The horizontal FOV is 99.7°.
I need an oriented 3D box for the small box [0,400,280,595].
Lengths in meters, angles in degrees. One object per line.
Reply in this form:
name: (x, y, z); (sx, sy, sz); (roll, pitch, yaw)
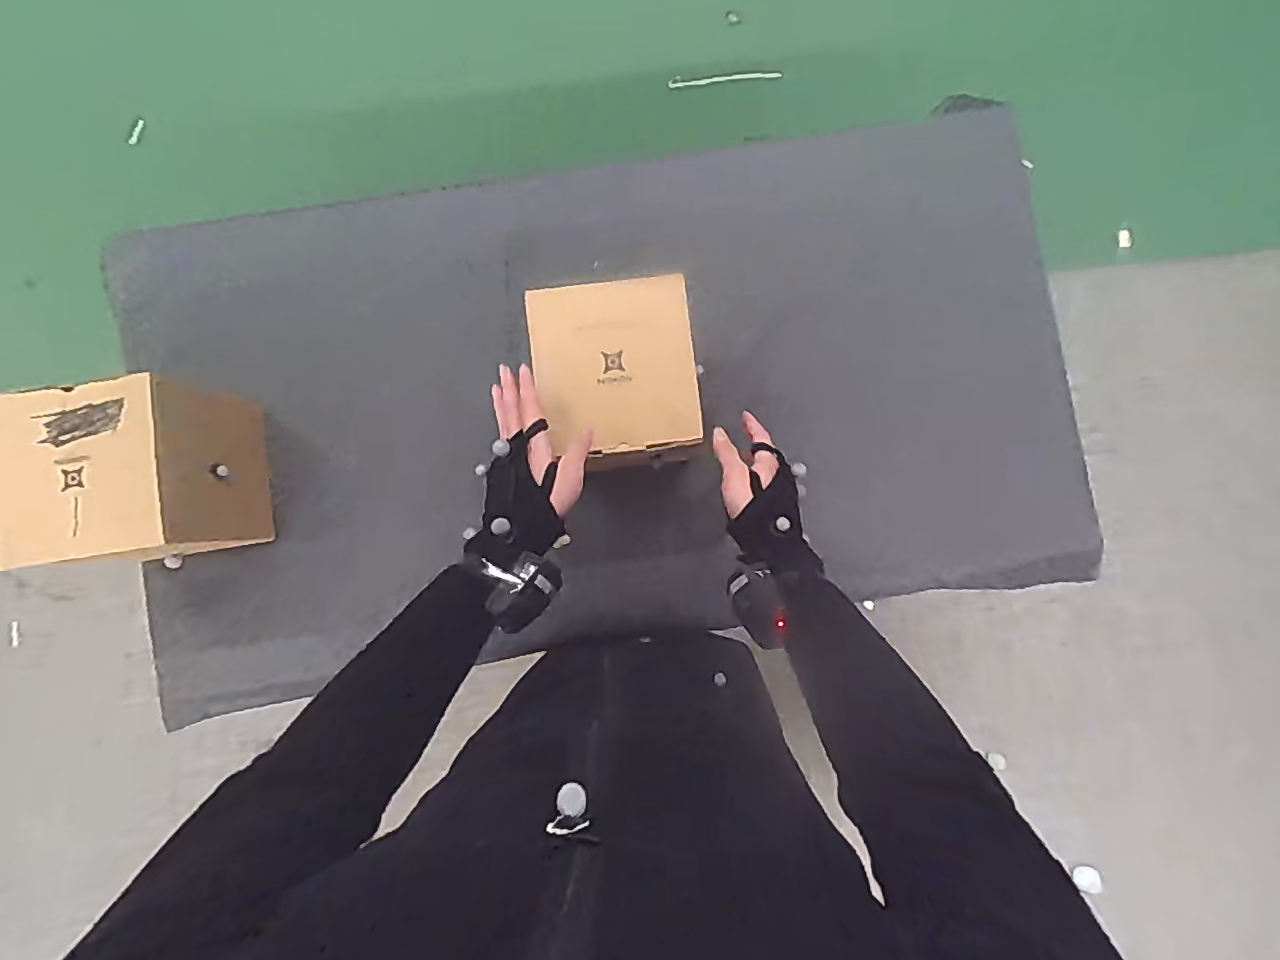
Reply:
small box: (-0.547, 0.023, 0.614); (0.168, 0.176, 0.179); (-9, 85, -2)

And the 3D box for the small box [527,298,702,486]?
small box: (-0.028, -0.089, 0.635); (0.168, 0.176, 0.179); (-8, 84, -3)
